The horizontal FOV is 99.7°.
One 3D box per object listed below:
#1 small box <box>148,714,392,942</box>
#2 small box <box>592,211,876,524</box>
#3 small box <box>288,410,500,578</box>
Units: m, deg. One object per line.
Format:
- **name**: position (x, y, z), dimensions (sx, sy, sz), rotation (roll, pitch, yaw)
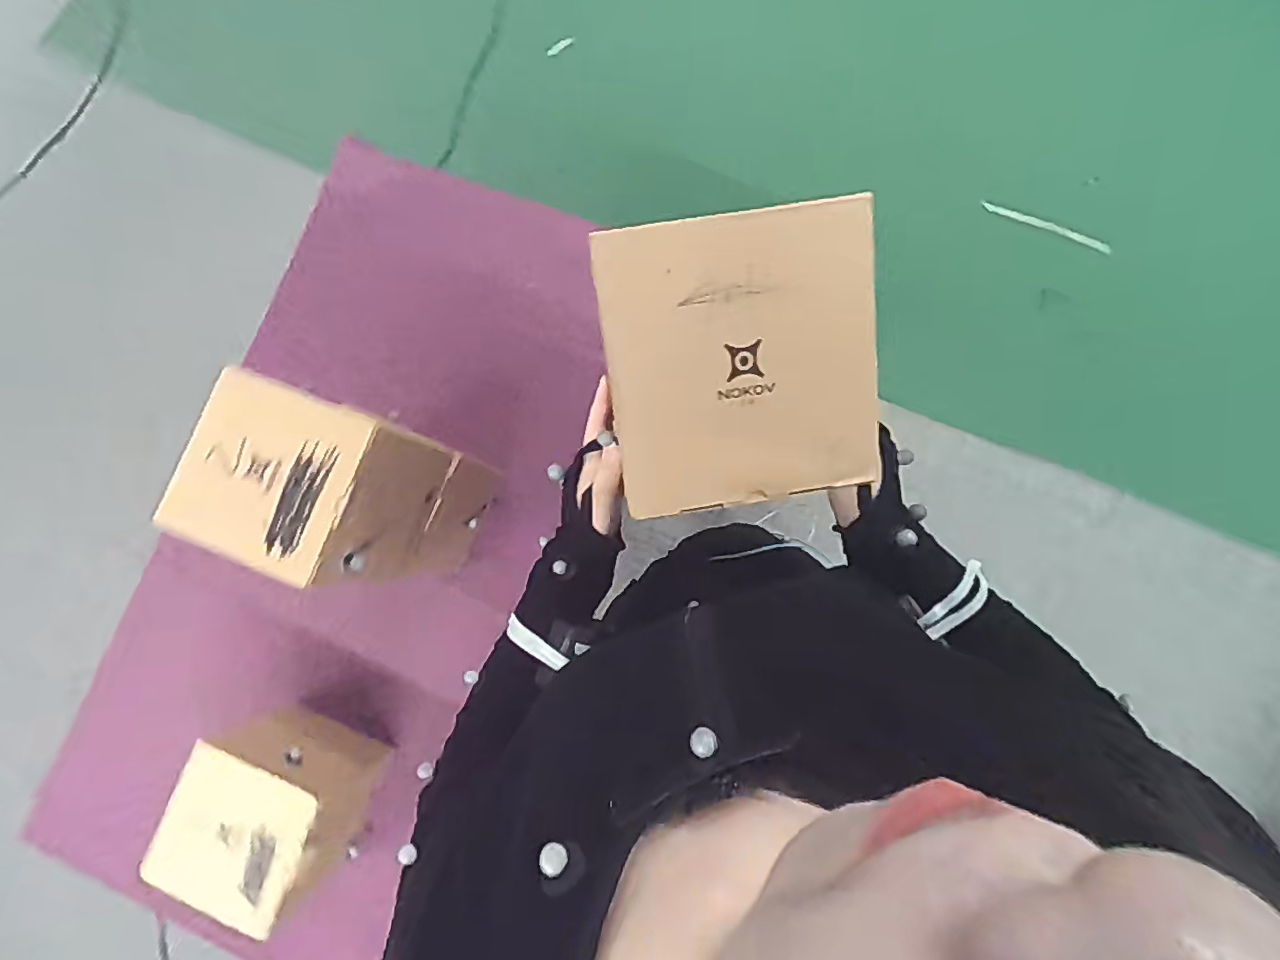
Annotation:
- **small box**: position (-0.467, 0.434, 0.712), dimensions (0.179, 0.176, 0.168), rotation (19, 84, 8)
- **small box**: position (0.058, -0.084, 0.407), dimensions (0.168, 0.176, 0.179), rotation (-8, 105, -2)
- **small box**: position (-0.326, 0.025, 0.752), dimensions (0.179, 0.176, 0.168), rotation (23, 86, 8)
